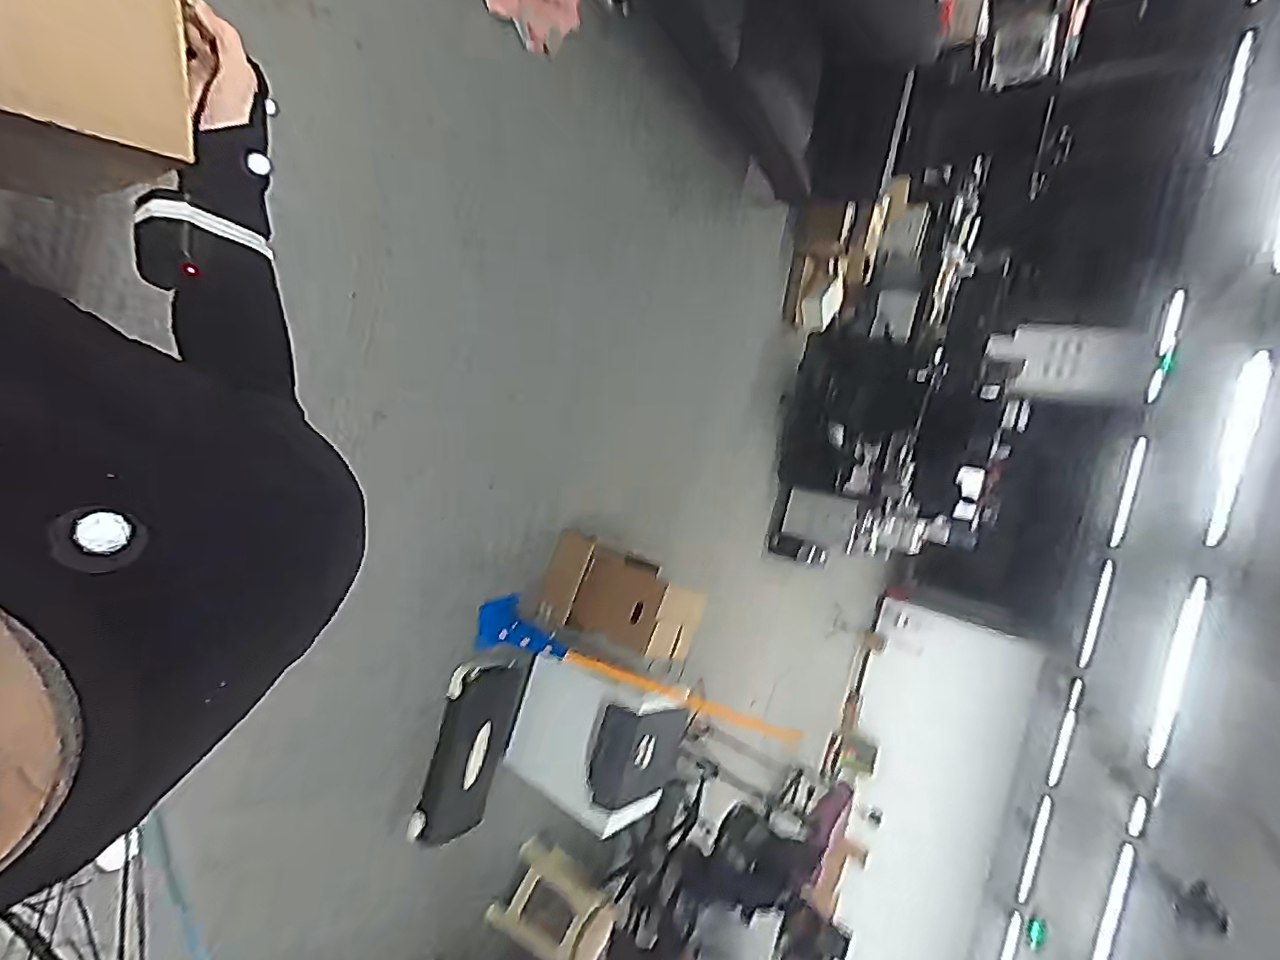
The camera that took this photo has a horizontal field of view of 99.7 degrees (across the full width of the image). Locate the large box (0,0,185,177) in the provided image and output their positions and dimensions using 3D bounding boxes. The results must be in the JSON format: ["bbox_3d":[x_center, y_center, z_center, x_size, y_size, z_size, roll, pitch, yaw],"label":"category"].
[{"bbox_3d":[-0.586,-0.408,0.315,0.408,0.320,0.320,-16,113,-54],"label":"large box"}]
